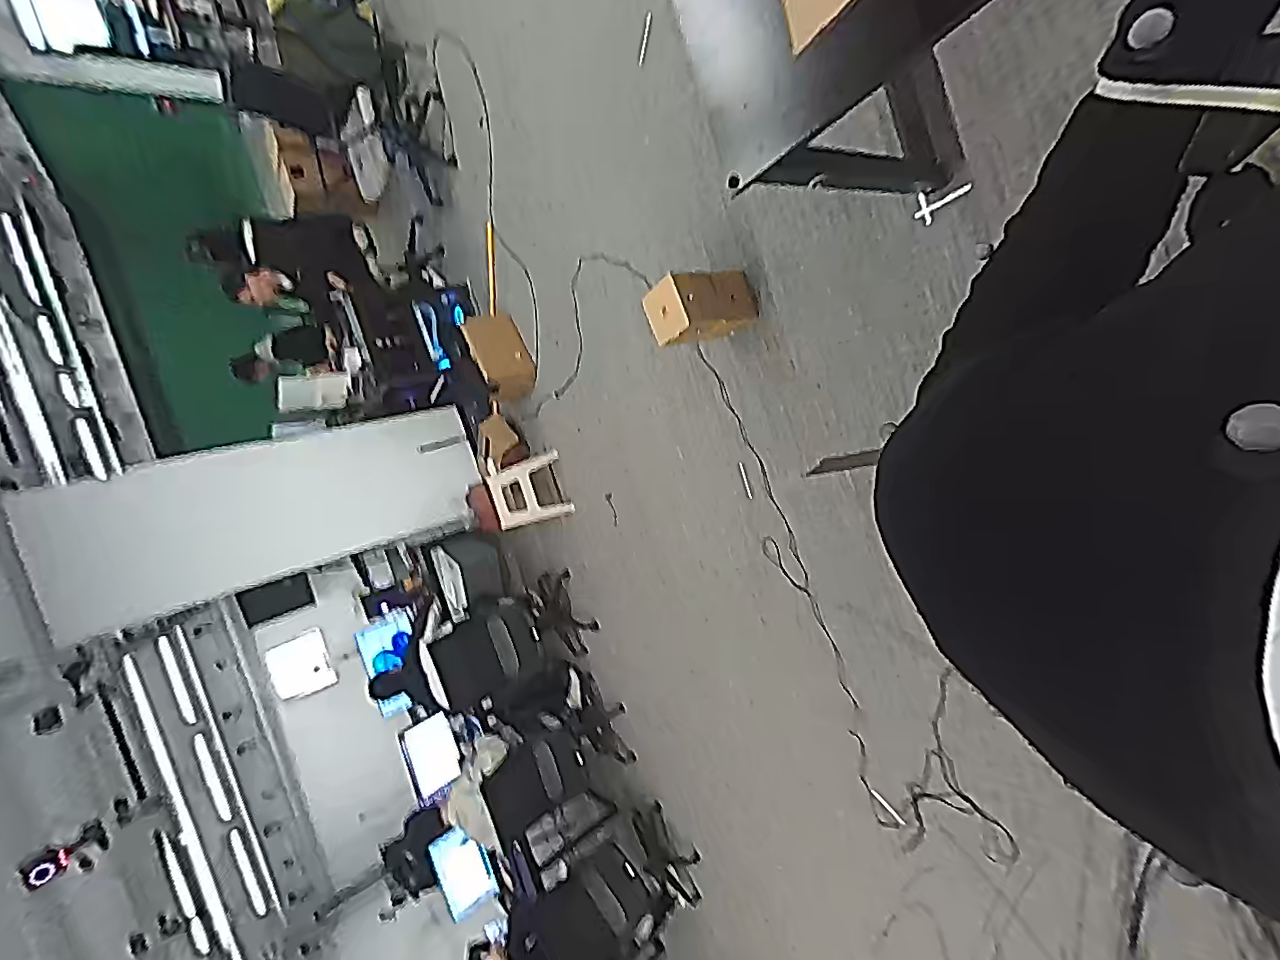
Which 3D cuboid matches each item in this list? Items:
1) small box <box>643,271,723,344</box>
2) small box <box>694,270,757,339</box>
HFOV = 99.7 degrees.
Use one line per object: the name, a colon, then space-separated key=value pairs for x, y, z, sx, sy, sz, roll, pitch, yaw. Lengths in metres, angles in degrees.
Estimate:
small box: x=0.142 y=-0.564 z=1.760 sx=0.168 sy=0.176 sz=0.179 roll=-24 pitch=85 yaw=54
small box: x=0.270 y=-0.603 z=1.853 sx=0.168 sy=0.176 sz=0.179 roll=-19 pitch=91 yaw=55
